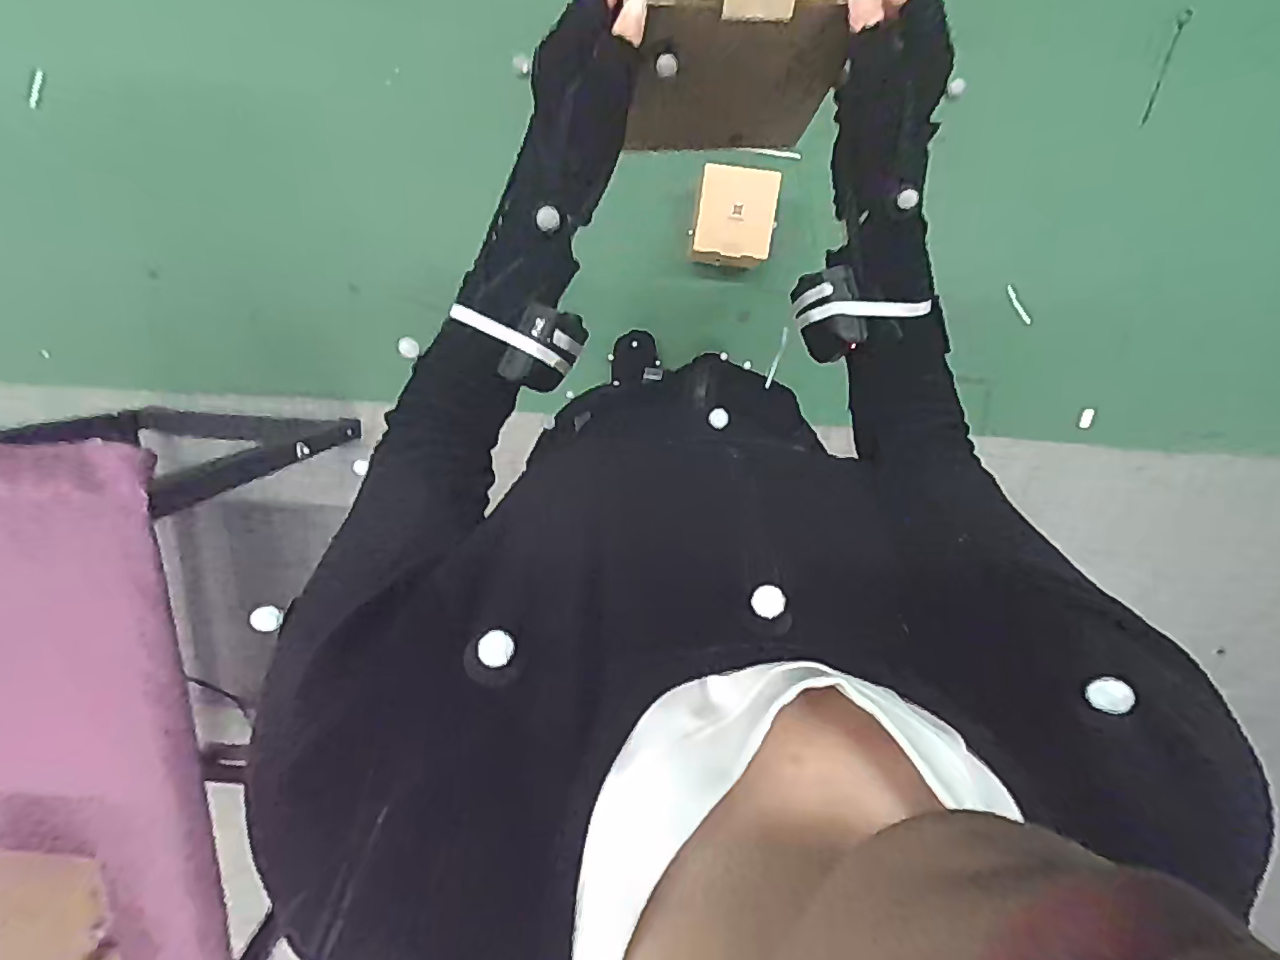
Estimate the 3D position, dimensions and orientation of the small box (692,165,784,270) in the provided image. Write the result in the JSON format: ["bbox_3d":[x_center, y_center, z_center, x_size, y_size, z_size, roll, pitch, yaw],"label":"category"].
[{"bbox_3d":[0.216,-0.595,1.244,0.168,0.176,0.179,7,106,-2],"label":"small box"}]

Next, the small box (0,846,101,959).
[{"bbox_3d":[-1.025,0.721,0.863,0.179,0.176,0.168,3,109,-3],"label":"small box"}]
